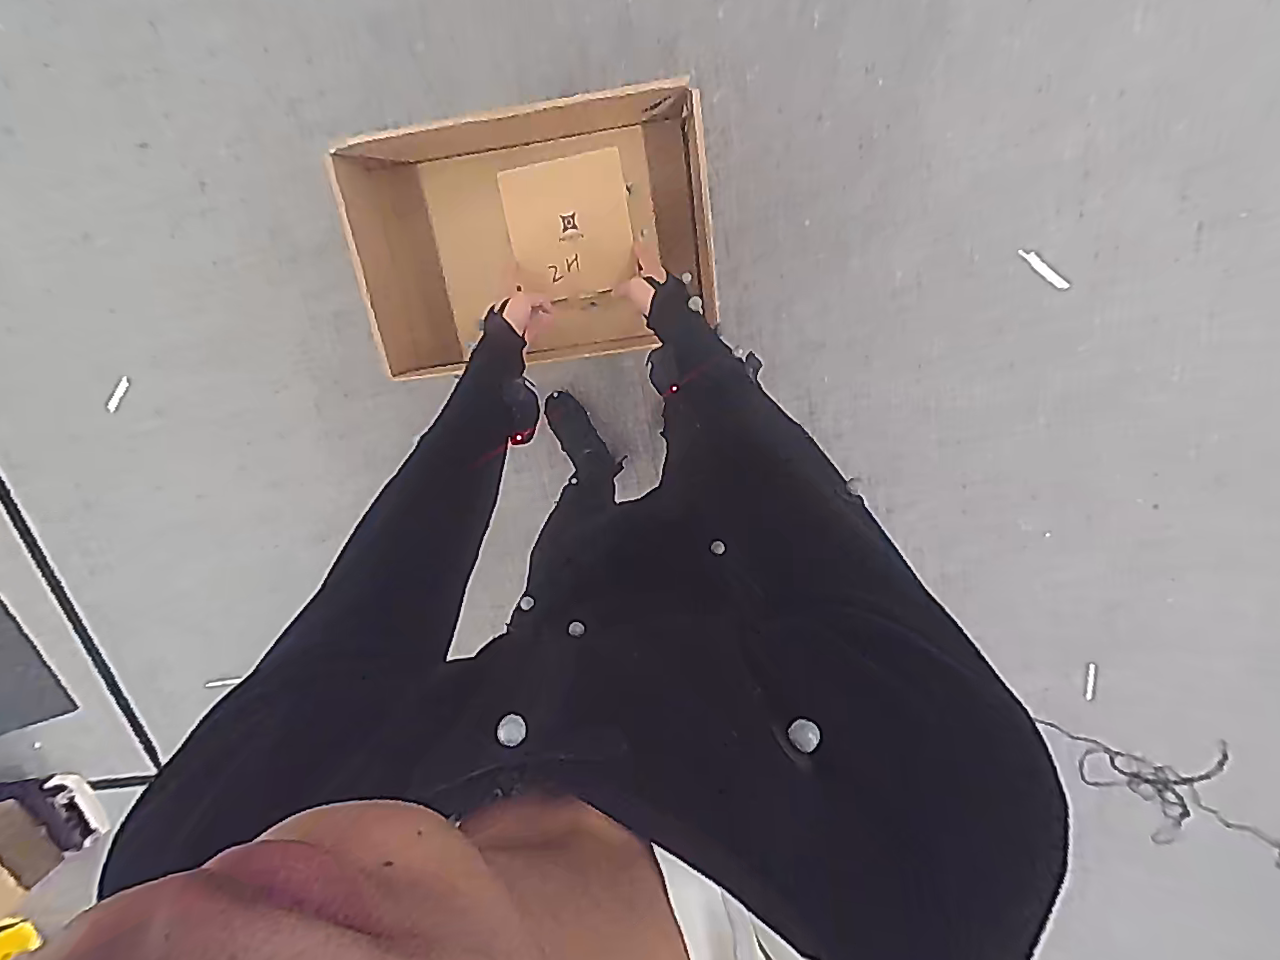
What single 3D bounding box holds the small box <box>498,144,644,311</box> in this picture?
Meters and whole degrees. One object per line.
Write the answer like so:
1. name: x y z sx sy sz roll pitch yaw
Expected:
1. small box: -0.090 -0.356 0.796 0.168 0.176 0.179 -9 104 6
